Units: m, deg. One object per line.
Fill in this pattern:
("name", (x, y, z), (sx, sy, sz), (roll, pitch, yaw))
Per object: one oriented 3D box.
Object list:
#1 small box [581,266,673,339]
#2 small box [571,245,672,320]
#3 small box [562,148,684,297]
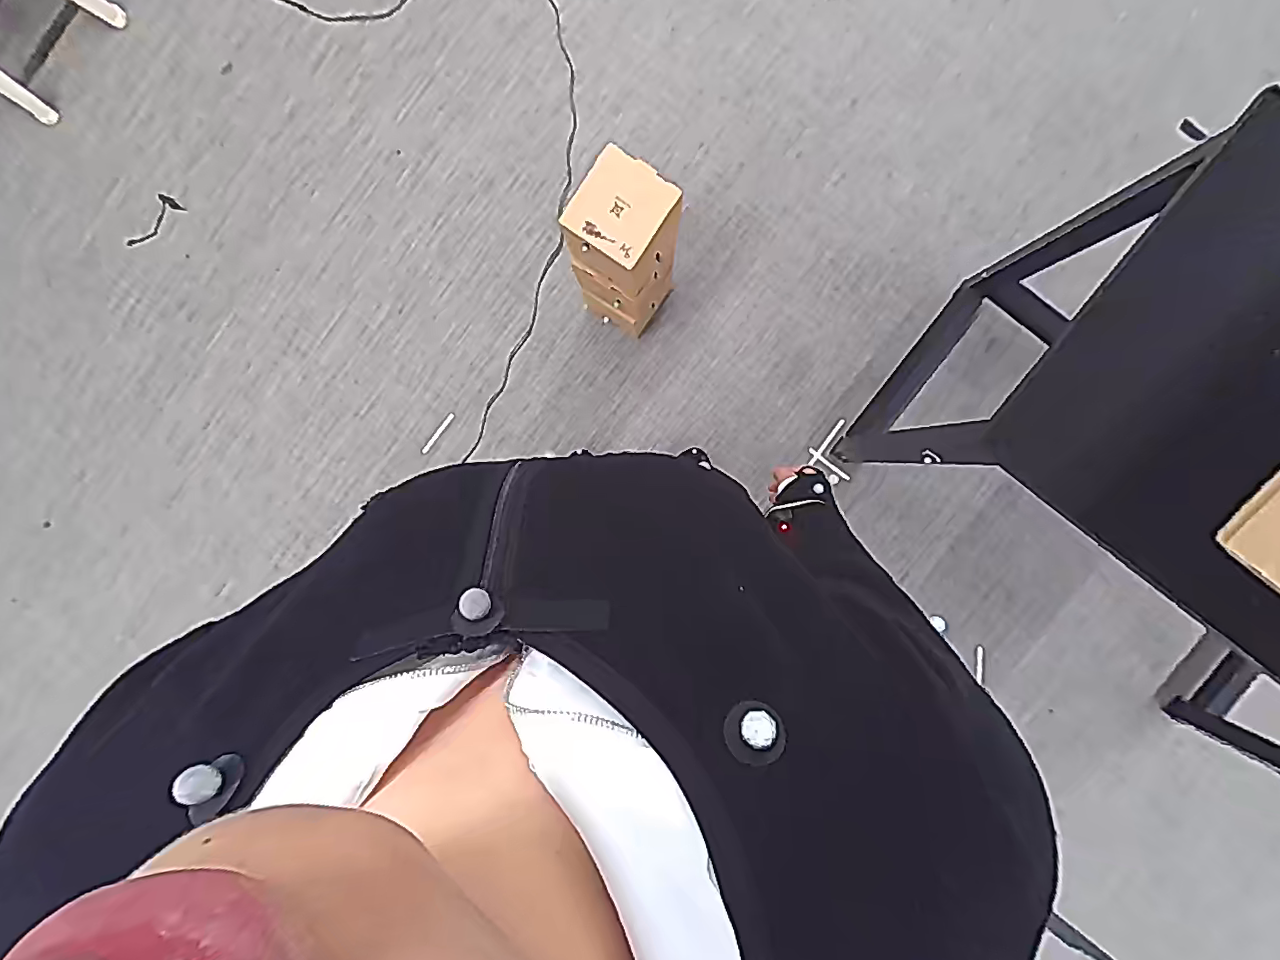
("small box", (-0.030, -0.494, 1.404), (0.168, 0.176, 0.179), (34, 93, 1))
("small box", (-0.034, -0.496, 1.242), (0.168, 0.176, 0.179), (31, 91, 0))
("small box", (-0.032, -0.500, 1.077), (0.168, 0.176, 0.179), (34, 92, 1))
